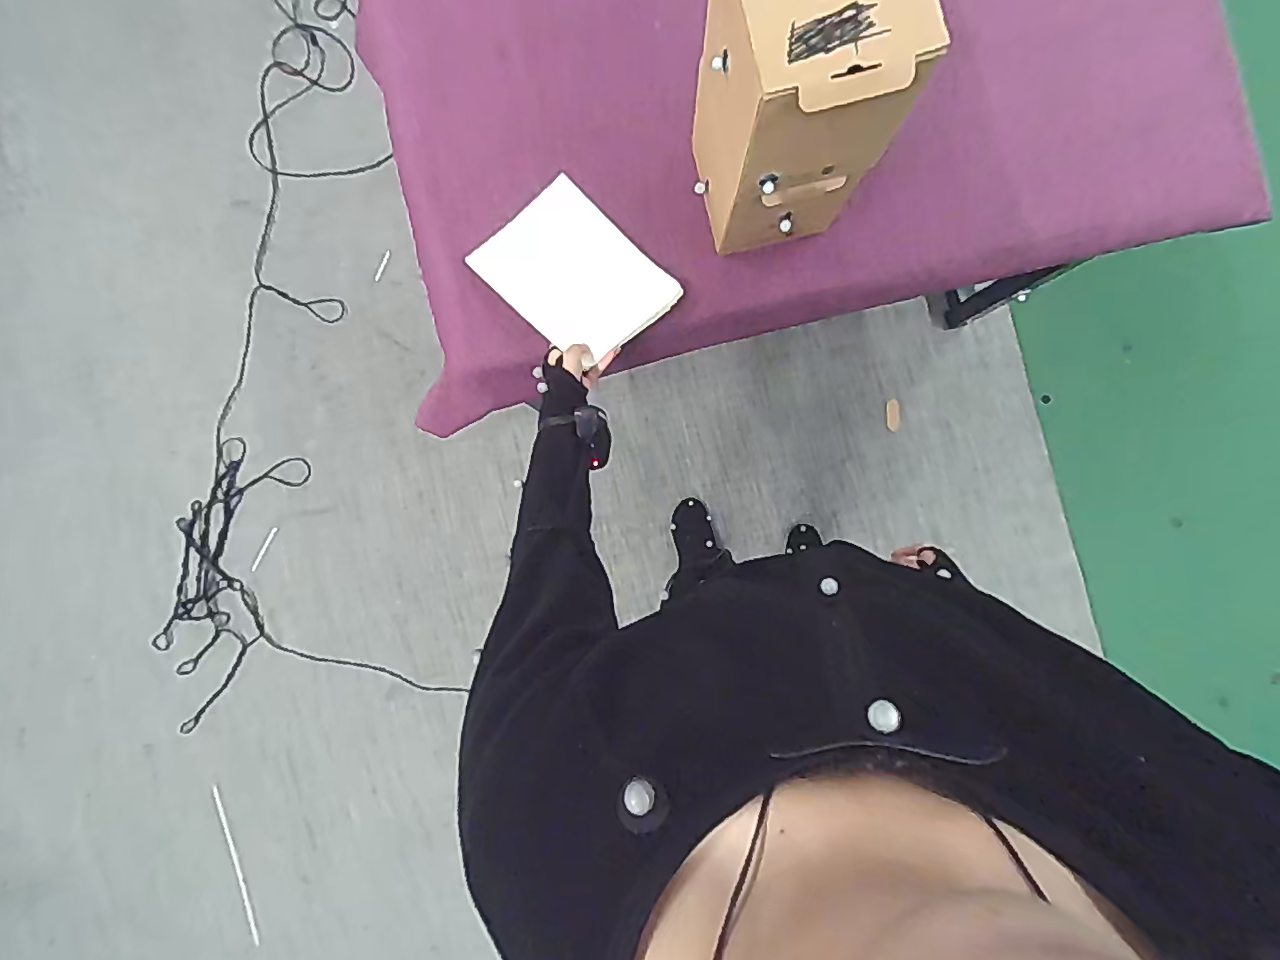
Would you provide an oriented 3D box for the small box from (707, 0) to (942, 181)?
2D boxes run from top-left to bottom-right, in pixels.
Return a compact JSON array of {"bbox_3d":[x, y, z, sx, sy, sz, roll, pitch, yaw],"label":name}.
[{"bbox_3d":[0.168,-0.436,0.551,0.168,0.176,0.179,-12,87,2],"label":"small box"}]

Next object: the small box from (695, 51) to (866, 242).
[{"bbox_3d":[0.173,-0.439,0.716,0.168,0.176,0.179,-13,89,1],"label":"small box"}]
